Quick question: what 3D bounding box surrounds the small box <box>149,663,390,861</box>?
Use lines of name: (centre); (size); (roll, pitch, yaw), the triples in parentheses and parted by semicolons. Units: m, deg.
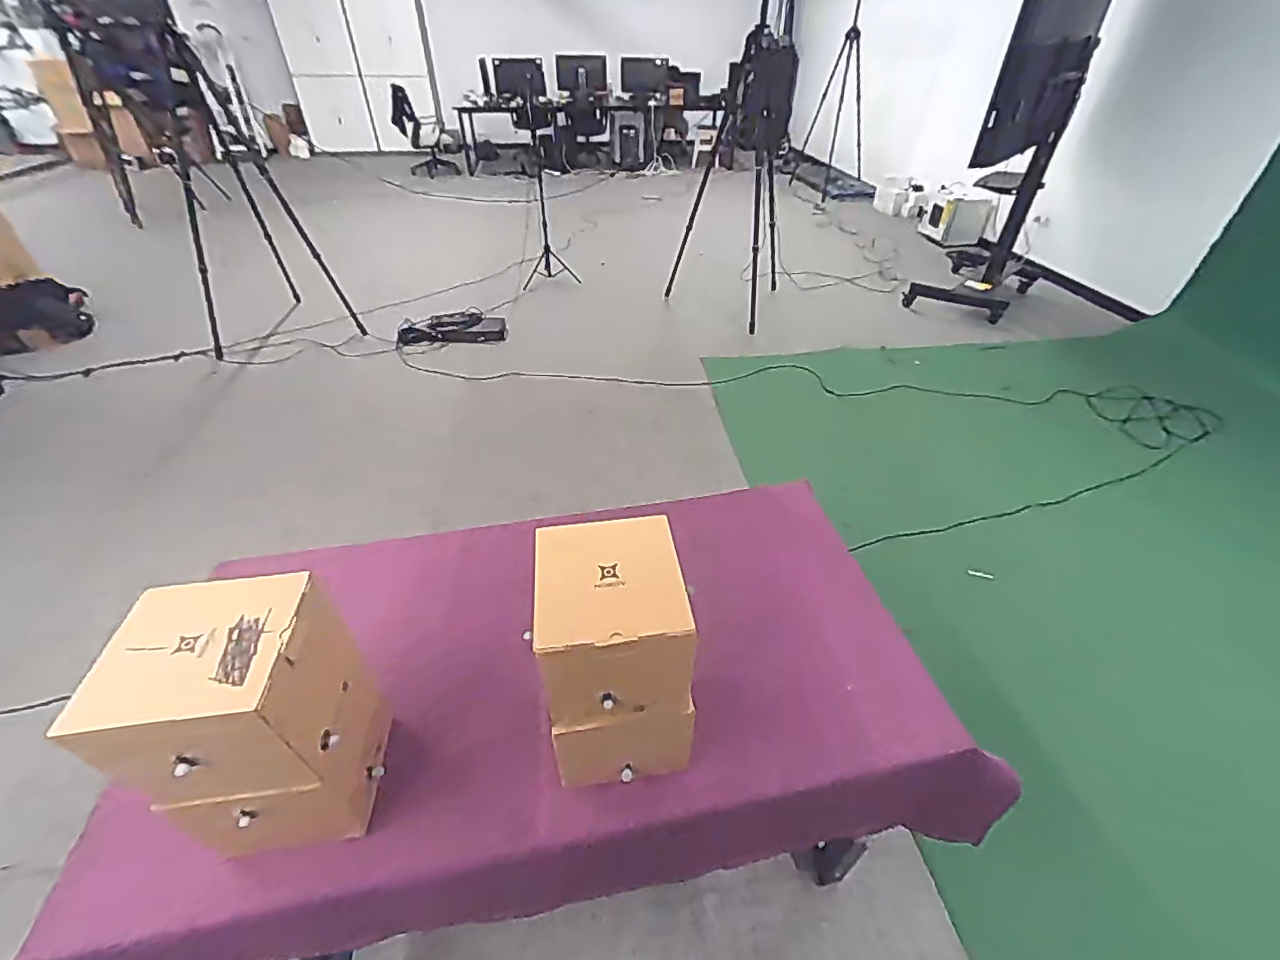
small box: (-0.448, 0.360, 0.693); (0.179, 0.176, 0.168); (-5, 41, -7)

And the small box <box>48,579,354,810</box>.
small box: (-0.442, 0.232, 0.591); (0.179, 0.176, 0.168); (-6, 41, -7)

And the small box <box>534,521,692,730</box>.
small box: (-0.038, 0.175, 0.664); (0.168, 0.176, 0.179); (-6, 41, -7)

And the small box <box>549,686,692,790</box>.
small box: (-0.035, 0.308, 0.760); (0.179, 0.176, 0.168); (-5, 40, -8)
